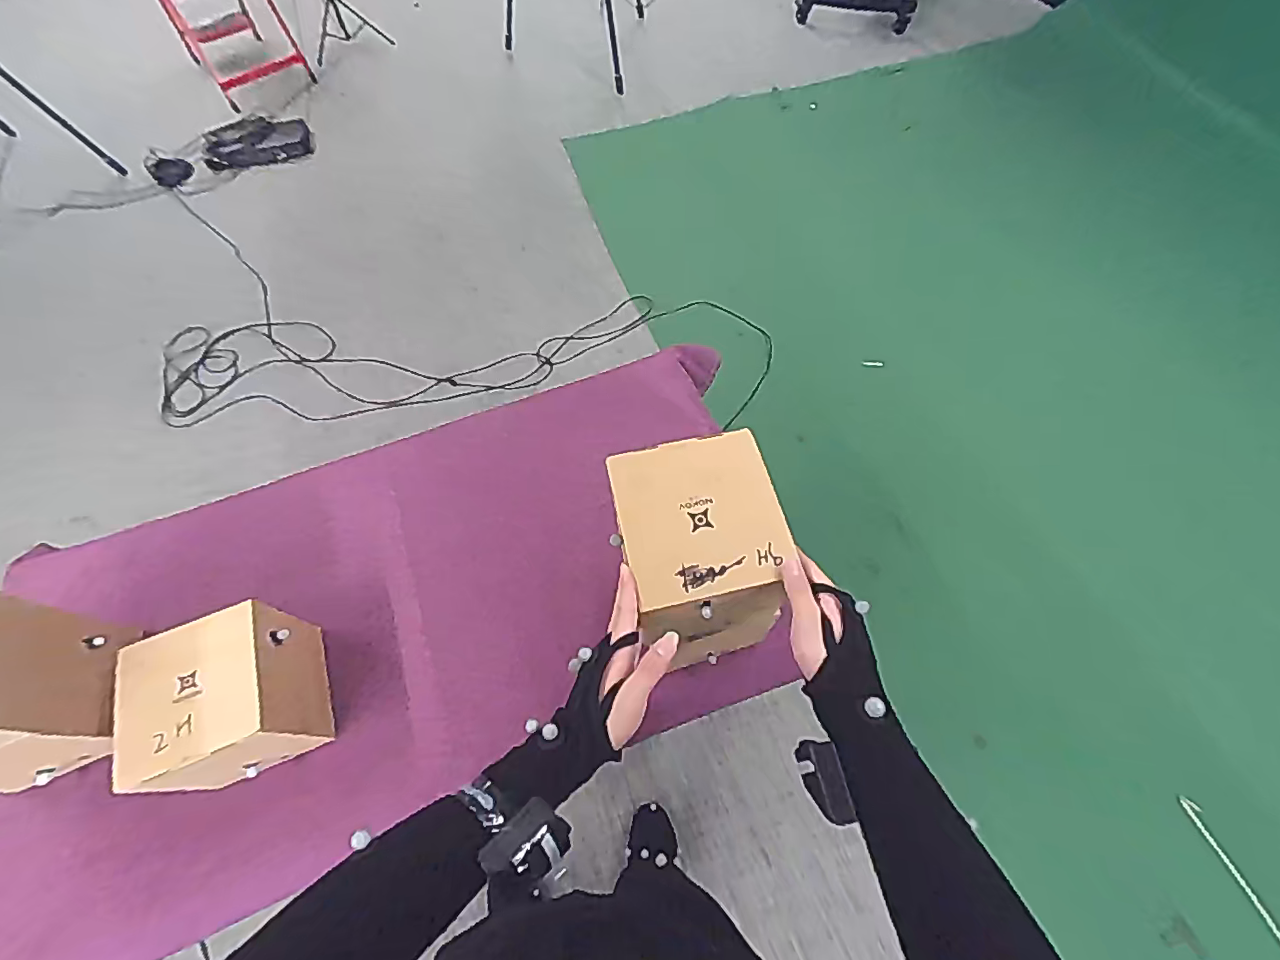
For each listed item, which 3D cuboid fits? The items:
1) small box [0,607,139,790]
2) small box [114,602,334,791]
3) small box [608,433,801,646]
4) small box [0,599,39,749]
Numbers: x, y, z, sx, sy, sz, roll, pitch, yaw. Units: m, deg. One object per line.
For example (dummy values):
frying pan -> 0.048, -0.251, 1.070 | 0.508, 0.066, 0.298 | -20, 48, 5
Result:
small box -> -0.825, 0.302, 0.736 | 0.168, 0.176, 0.179 | -22, 64, -9
small box -> -0.545, 0.294, 0.729 | 0.168, 0.176, 0.179 | -21, 63, -9
small box -> 0.062, 0.074, 0.622 | 0.168, 0.176, 0.179 | -12, 63, -3
small box -> -0.830, 0.225, 0.592 | 0.168, 0.176, 0.179 | -23, 64, -9
